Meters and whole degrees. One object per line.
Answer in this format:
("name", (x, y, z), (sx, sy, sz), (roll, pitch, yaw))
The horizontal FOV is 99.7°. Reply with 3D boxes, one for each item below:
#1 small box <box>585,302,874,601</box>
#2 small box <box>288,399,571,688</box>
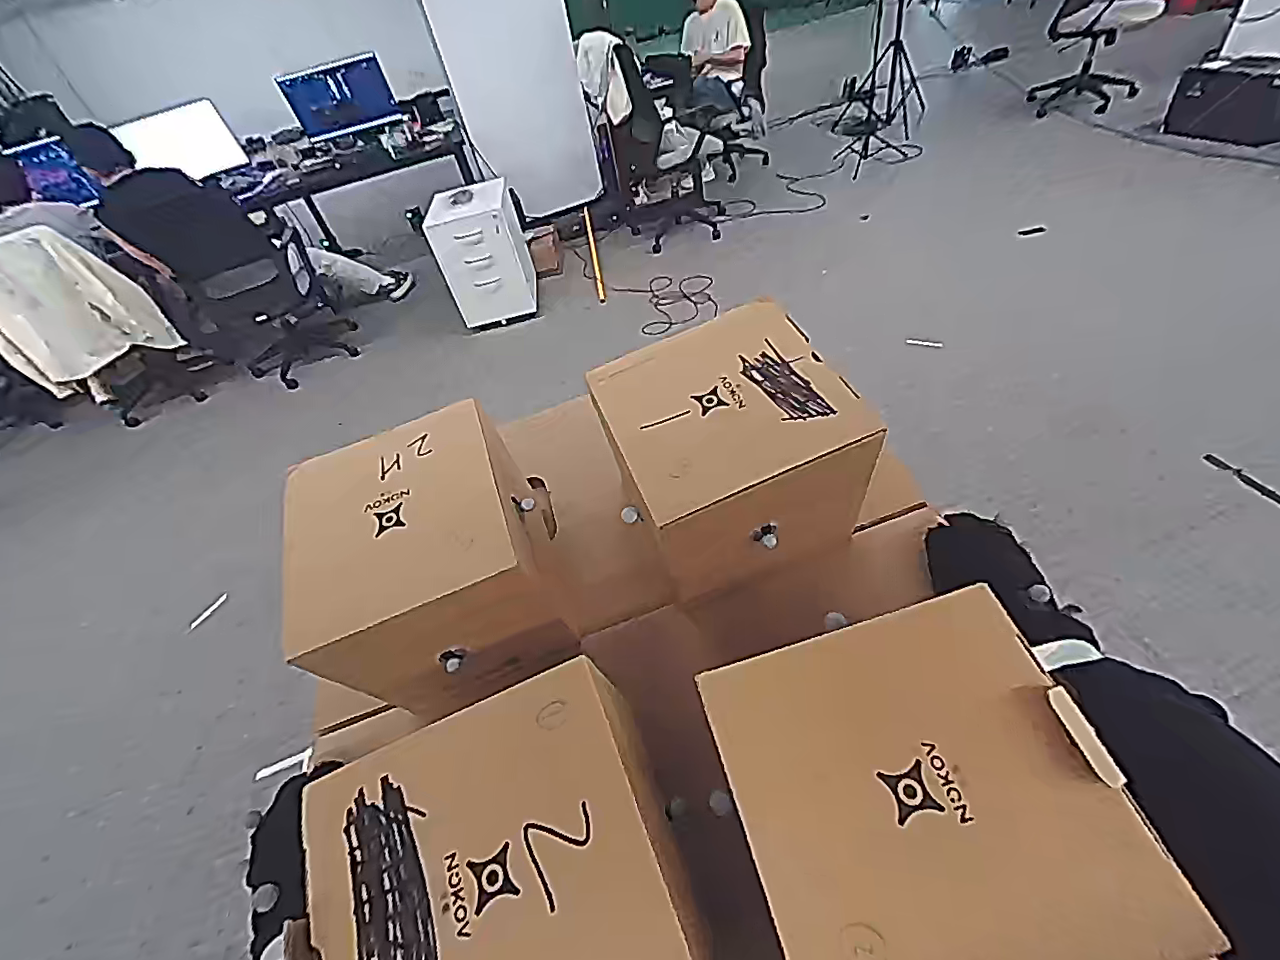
("small box", (0.073, -0.018, 0.484), (0.179, 0.176, 0.168), (-23, 55, -2))
("small box", (-0.174, 0.067, 0.480), (0.168, 0.176, 0.179), (-21, 55, -3))
